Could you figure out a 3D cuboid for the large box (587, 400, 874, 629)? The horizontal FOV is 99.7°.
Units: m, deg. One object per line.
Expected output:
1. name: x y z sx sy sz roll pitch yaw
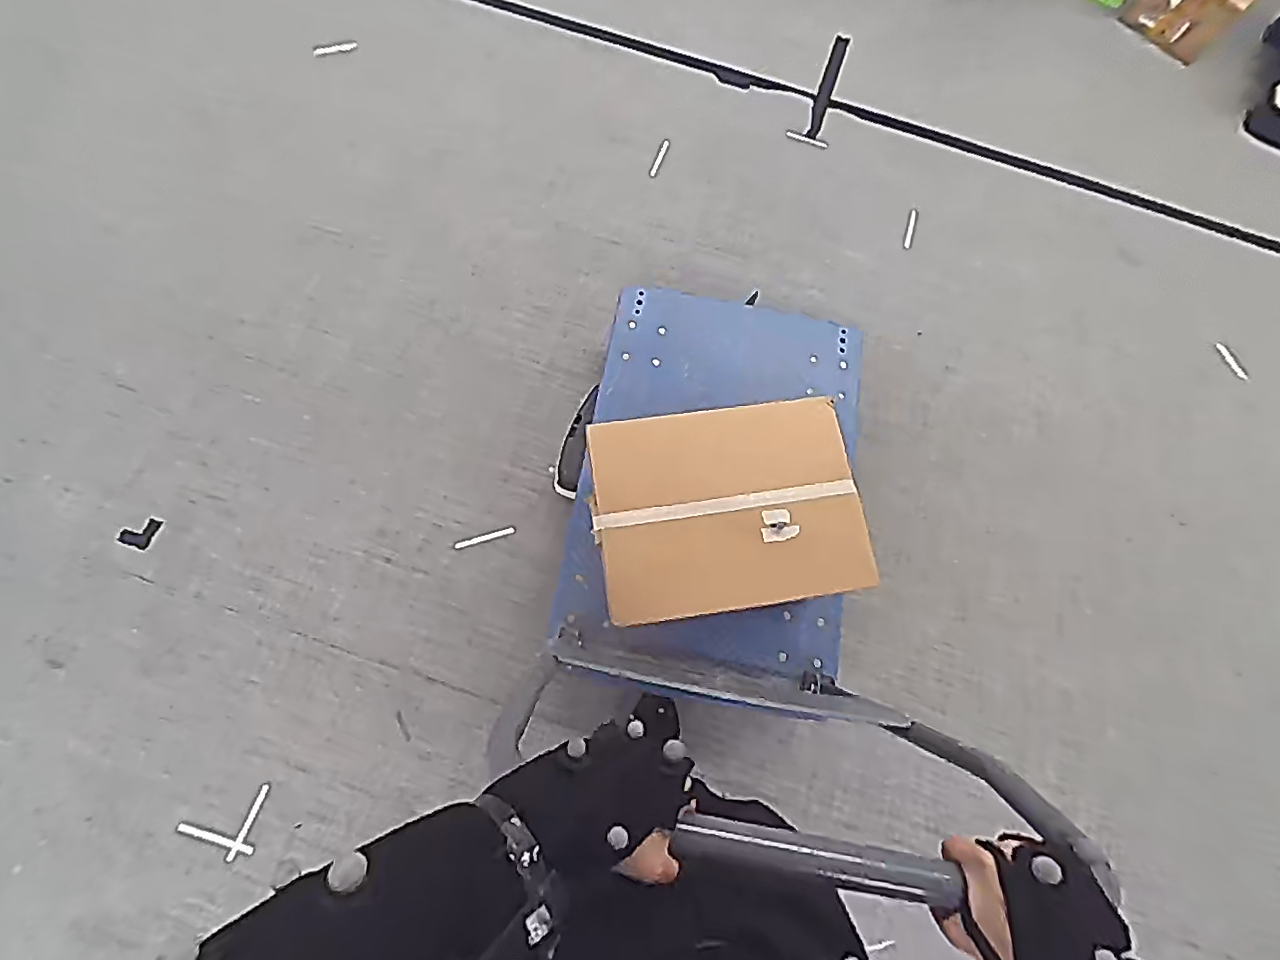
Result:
1. large box: 0.126 0.080 0.977 0.408 0.320 0.320 -7 76 -6
